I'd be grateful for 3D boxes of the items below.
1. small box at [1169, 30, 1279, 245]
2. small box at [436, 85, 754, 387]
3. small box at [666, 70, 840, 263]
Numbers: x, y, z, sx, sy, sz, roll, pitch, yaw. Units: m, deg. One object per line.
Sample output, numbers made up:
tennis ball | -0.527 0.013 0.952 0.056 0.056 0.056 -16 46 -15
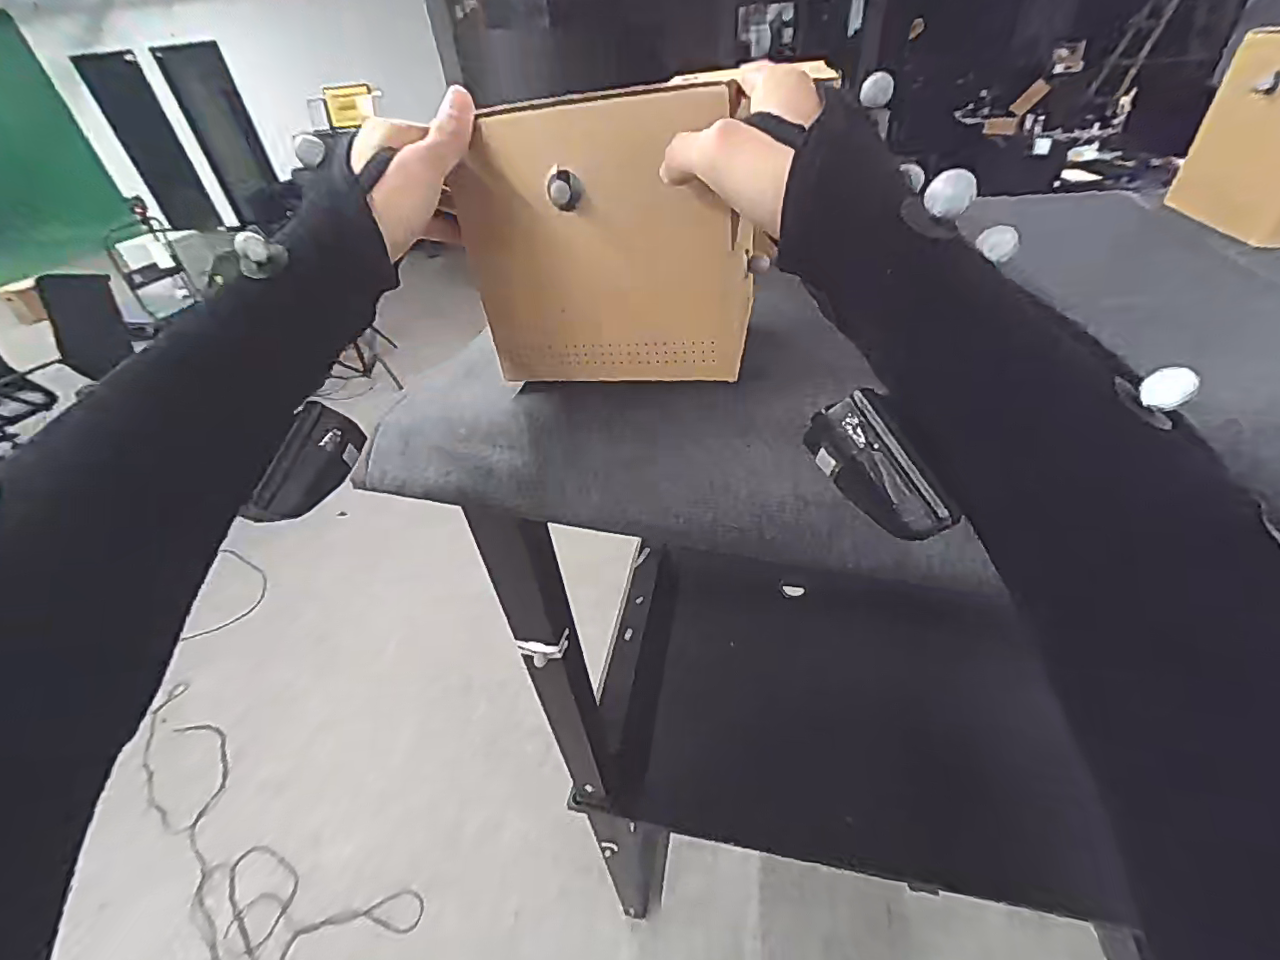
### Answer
small box | 0.686 -0.331 0.522 0.168 0.176 0.179 3 40 11
small box | -0.010 -0.178 0.401 0.179 0.176 0.168 3 37 14
small box | 0.120 -0.361 0.629 0.179 0.176 0.168 3 40 10
